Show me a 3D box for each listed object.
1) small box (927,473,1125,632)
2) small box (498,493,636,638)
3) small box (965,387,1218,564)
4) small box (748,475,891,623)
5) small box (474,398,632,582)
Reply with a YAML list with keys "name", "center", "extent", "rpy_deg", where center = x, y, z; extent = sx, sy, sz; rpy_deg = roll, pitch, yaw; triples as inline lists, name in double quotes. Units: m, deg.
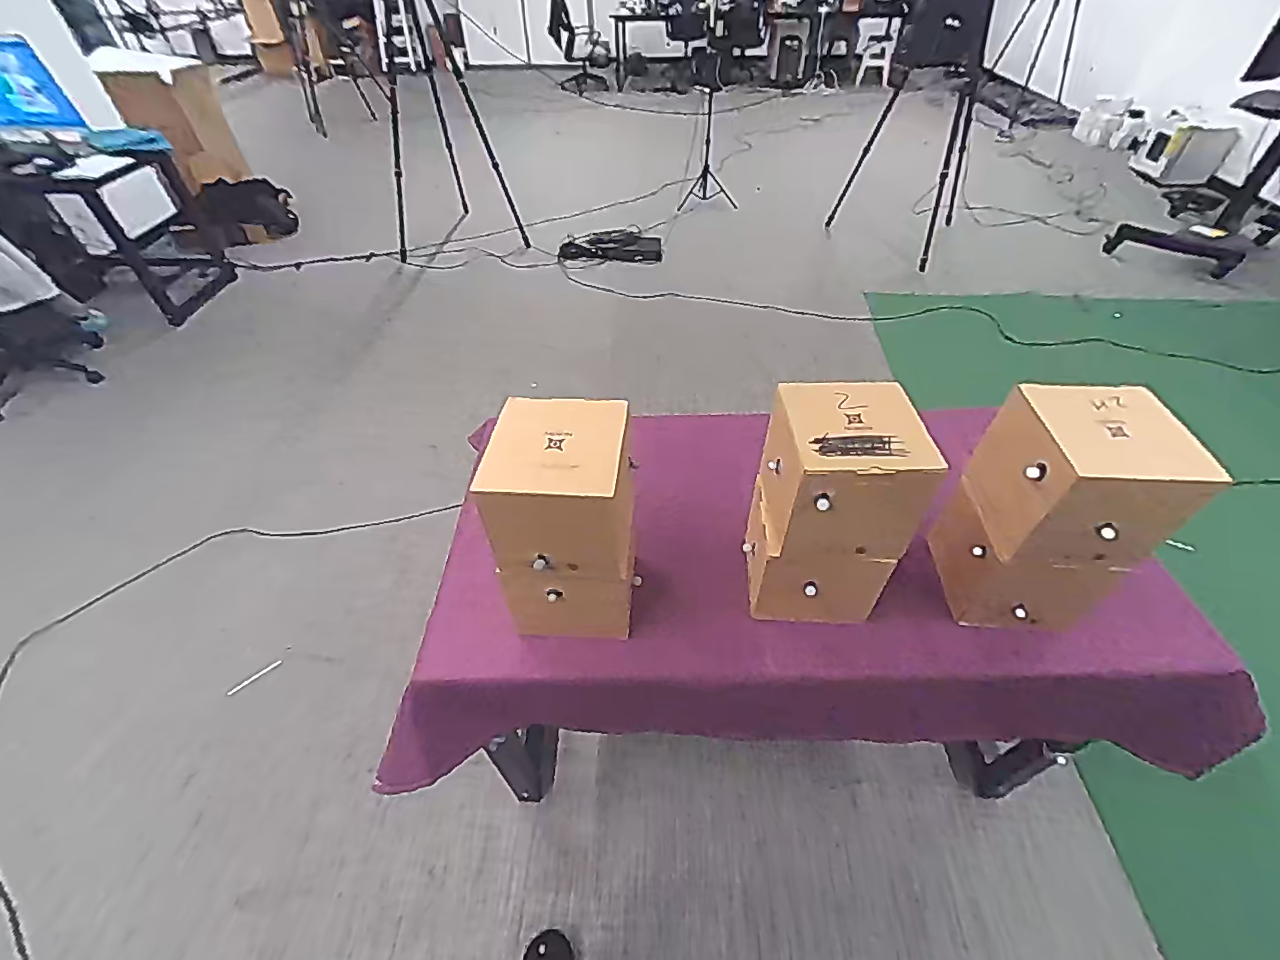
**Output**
- name: "small box"
  center: [0.576, 0.111, 0.841]
  extent: [0.168, 0.176, 0.179]
  rpy_deg: [3, 46, 5]
- name: "small box"
  center: [-0.100, 0.129, 0.837]
  extent: [0.179, 0.176, 0.168]
  rpy_deg: [3, 45, 3]
- name: "small box"
  center: [0.575, -0.004, 0.723]
  extent: [0.168, 0.176, 0.179]
  rpy_deg: [3, 46, 3]
- name: "small box"
  center: [0.265, 0.109, 0.849]
  extent: [0.179, 0.176, 0.168]
  rpy_deg: [2, 45, 4]
- name: "small box"
  center: [-0.101, 0.012, 0.724]
  extent: [0.168, 0.176, 0.179]
  rpy_deg: [3, 46, 5]
